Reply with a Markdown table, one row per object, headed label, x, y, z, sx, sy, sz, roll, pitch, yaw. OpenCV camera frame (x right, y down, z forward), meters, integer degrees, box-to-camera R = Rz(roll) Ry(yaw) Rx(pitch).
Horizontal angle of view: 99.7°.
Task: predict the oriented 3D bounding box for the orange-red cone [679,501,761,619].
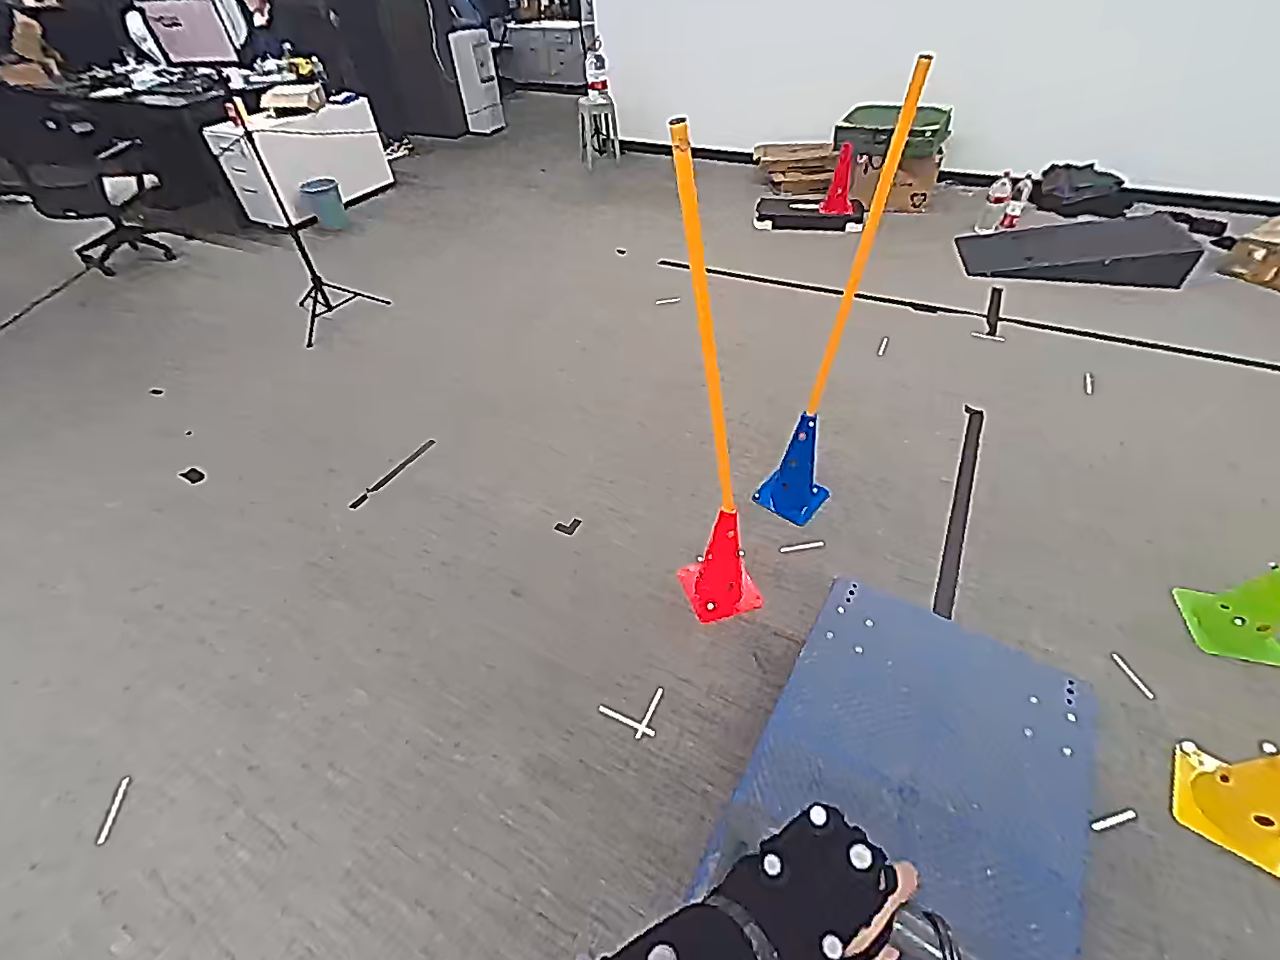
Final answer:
| label | x | y | z | sx | sy | sz | roll | pitch | yaw |
| --- | --- | --- | --- | --- | --- | --- | --- | --- | --- |
| orange-red cone | 0.228 | 0.186 | 1.460 | 0.199 | 0.360 | 0.198 | -13 | 47 | -11 |

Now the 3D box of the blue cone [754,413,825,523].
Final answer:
| label | x | y | z | sx | sy | sz | roll | pitch | yaw |
| --- | --- | --- | --- | --- | --- | --- | --- | --- | --- |
| blue cone | 0.500 | -0.061 | 1.709 | 0.193 | 0.380 | 0.192 | 32 | 56 | 30 |

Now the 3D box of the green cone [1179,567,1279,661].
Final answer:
| label | x | y | z | sx | sy | sz | roll | pitch | yaw |
| --- | --- | --- | --- | --- | --- | --- | --- | --- | --- |
| green cone | 1.566 | 0.257 | 1.310 | 0.200 | 0.368 | 0.202 | 8 | 48 | 11 |
